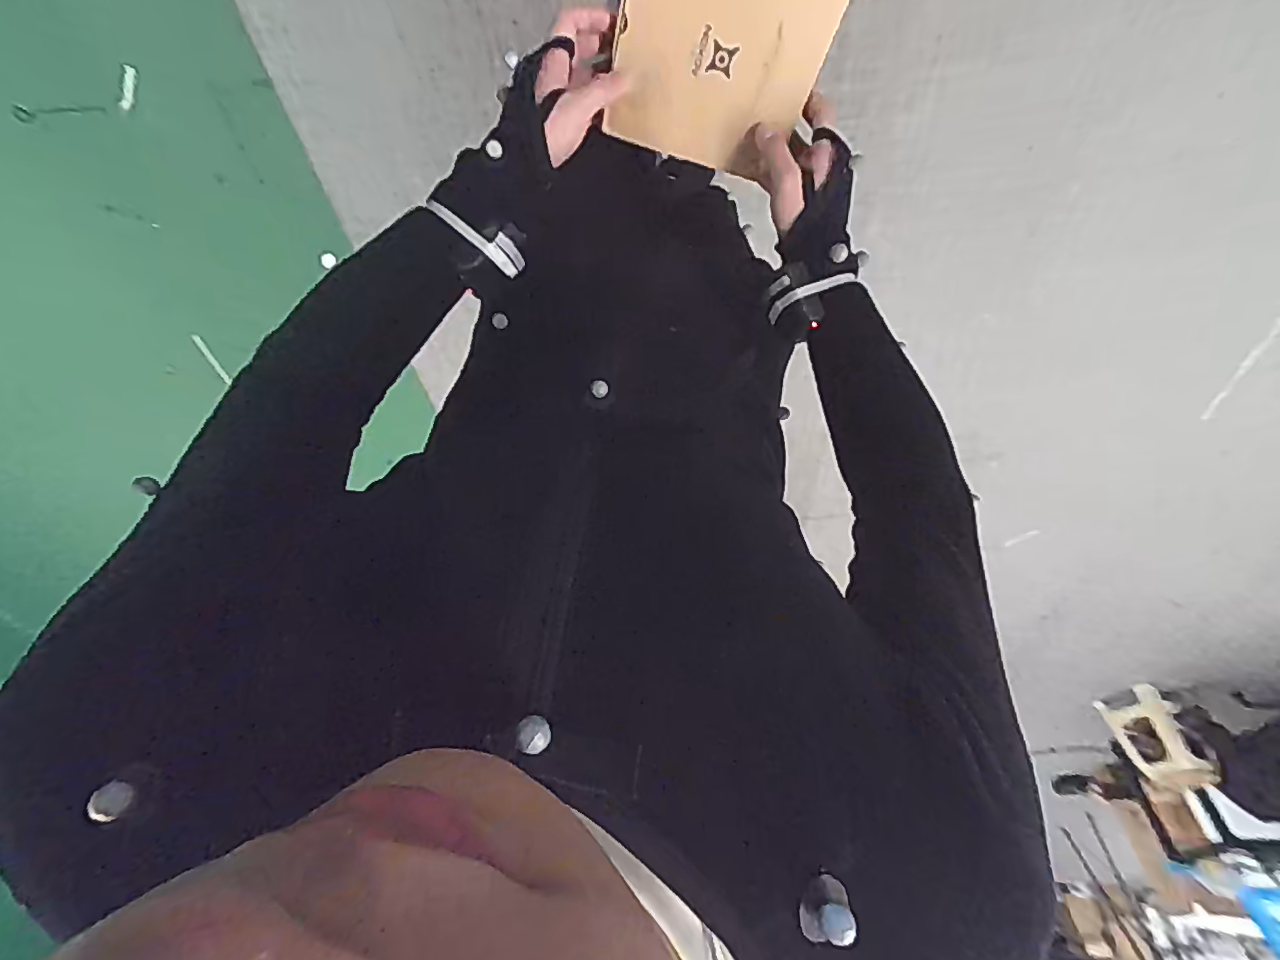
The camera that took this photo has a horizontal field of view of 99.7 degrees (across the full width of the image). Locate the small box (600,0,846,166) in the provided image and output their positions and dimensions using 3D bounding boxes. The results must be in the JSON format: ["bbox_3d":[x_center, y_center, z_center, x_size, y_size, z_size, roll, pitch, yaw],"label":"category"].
[{"bbox_3d":[0.073,-0.432,0.500,0.179,0.176,0.168,13,140,-10],"label":"small box"}]
